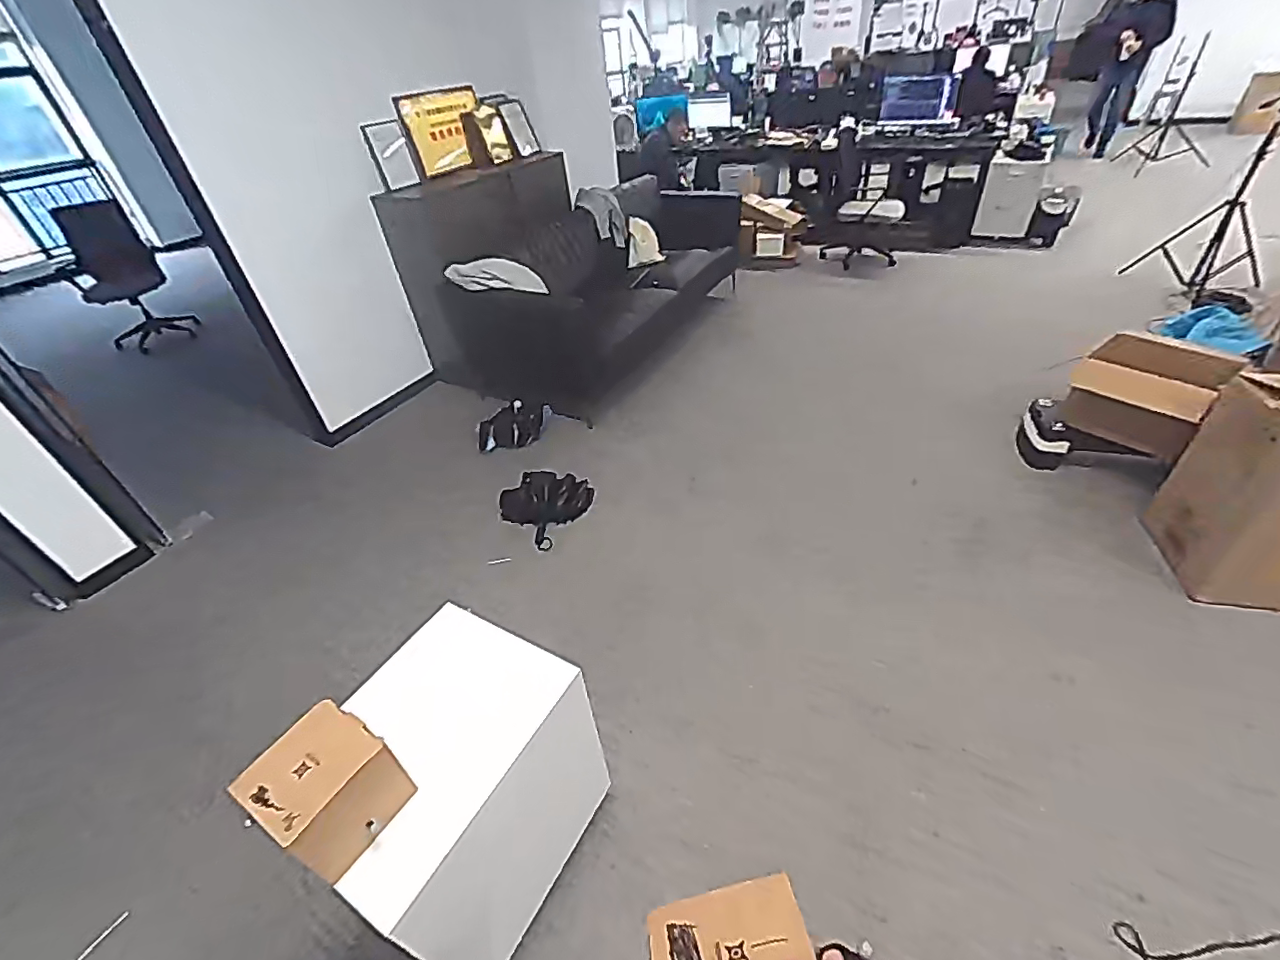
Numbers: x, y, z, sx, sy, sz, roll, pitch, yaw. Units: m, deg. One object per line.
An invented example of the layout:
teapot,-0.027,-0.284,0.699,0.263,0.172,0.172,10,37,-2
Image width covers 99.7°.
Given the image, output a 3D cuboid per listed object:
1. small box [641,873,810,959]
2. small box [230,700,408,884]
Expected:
small box,0.107,0.573,0.569,0.179,0.176,0.168,-15,3,1
small box,-0.514,0.514,0.898,0.168,0.176,0.179,17,43,27
